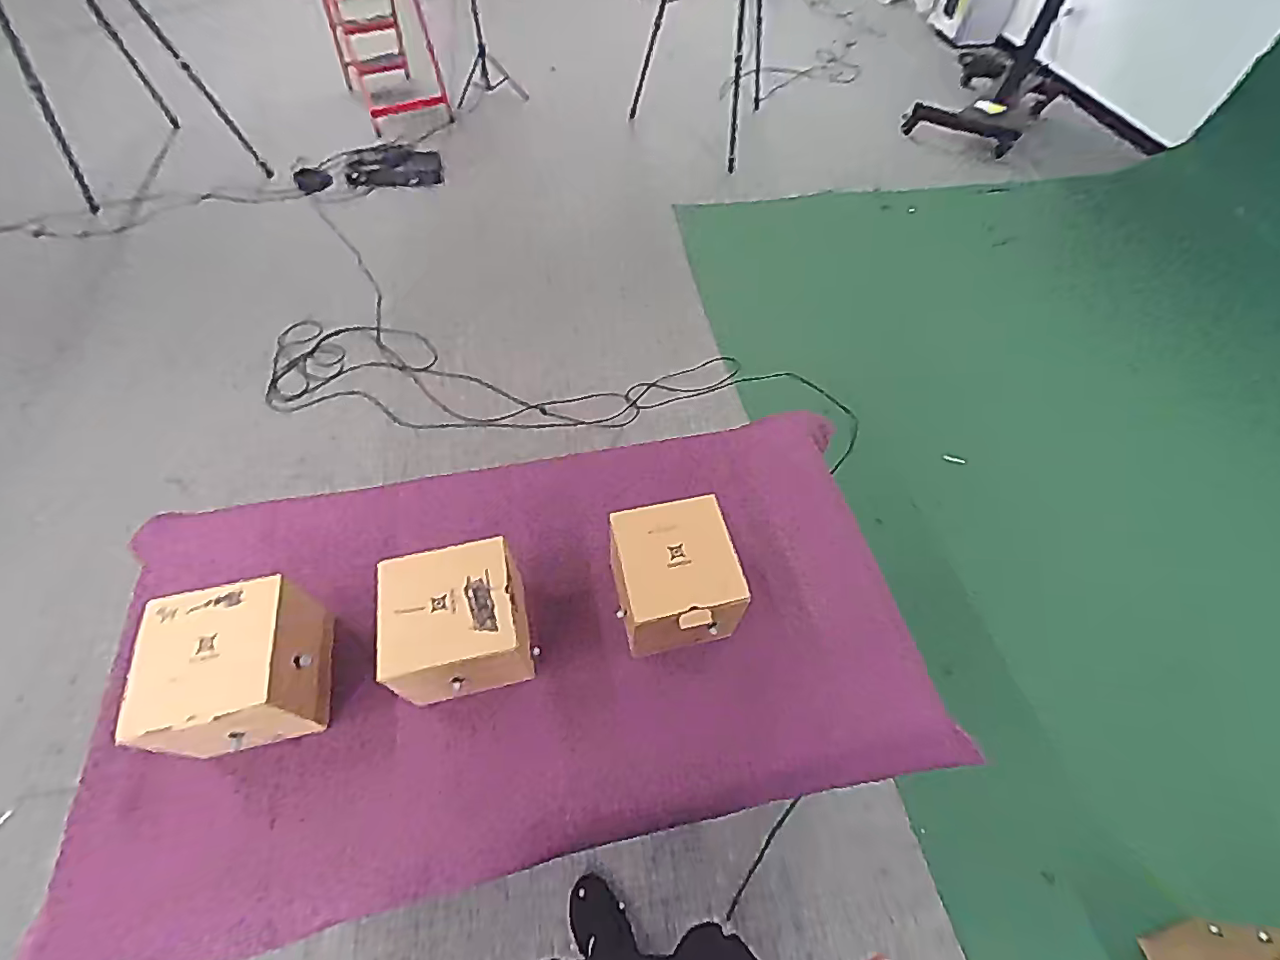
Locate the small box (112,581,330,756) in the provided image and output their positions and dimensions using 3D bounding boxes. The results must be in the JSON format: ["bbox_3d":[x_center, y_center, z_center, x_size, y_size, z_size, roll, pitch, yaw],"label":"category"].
[{"bbox_3d":[-0.546,0.263,0.738,0.168,0.176,0.179,-10,58,-10],"label":"small box"}]

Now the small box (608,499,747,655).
[{"bbox_3d":[0.049,0.156,0.832,0.168,0.176,0.179,-10,57,-9],"label":"small box"}]

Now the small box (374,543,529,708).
[{"bbox_3d":[-0.262,0.213,0.782,0.179,0.176,0.168,-11,57,-8],"label":"small box"}]

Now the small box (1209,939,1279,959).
[{"bbox_3d":[1.245,0.983,1.000,0.168,0.176,0.179,-10,57,-9],"label":"small box"}]

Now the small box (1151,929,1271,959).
[{"bbox_3d":[1.245,1.076,1.136,0.179,0.176,0.168,-10,57,-9],"label":"small box"}]
